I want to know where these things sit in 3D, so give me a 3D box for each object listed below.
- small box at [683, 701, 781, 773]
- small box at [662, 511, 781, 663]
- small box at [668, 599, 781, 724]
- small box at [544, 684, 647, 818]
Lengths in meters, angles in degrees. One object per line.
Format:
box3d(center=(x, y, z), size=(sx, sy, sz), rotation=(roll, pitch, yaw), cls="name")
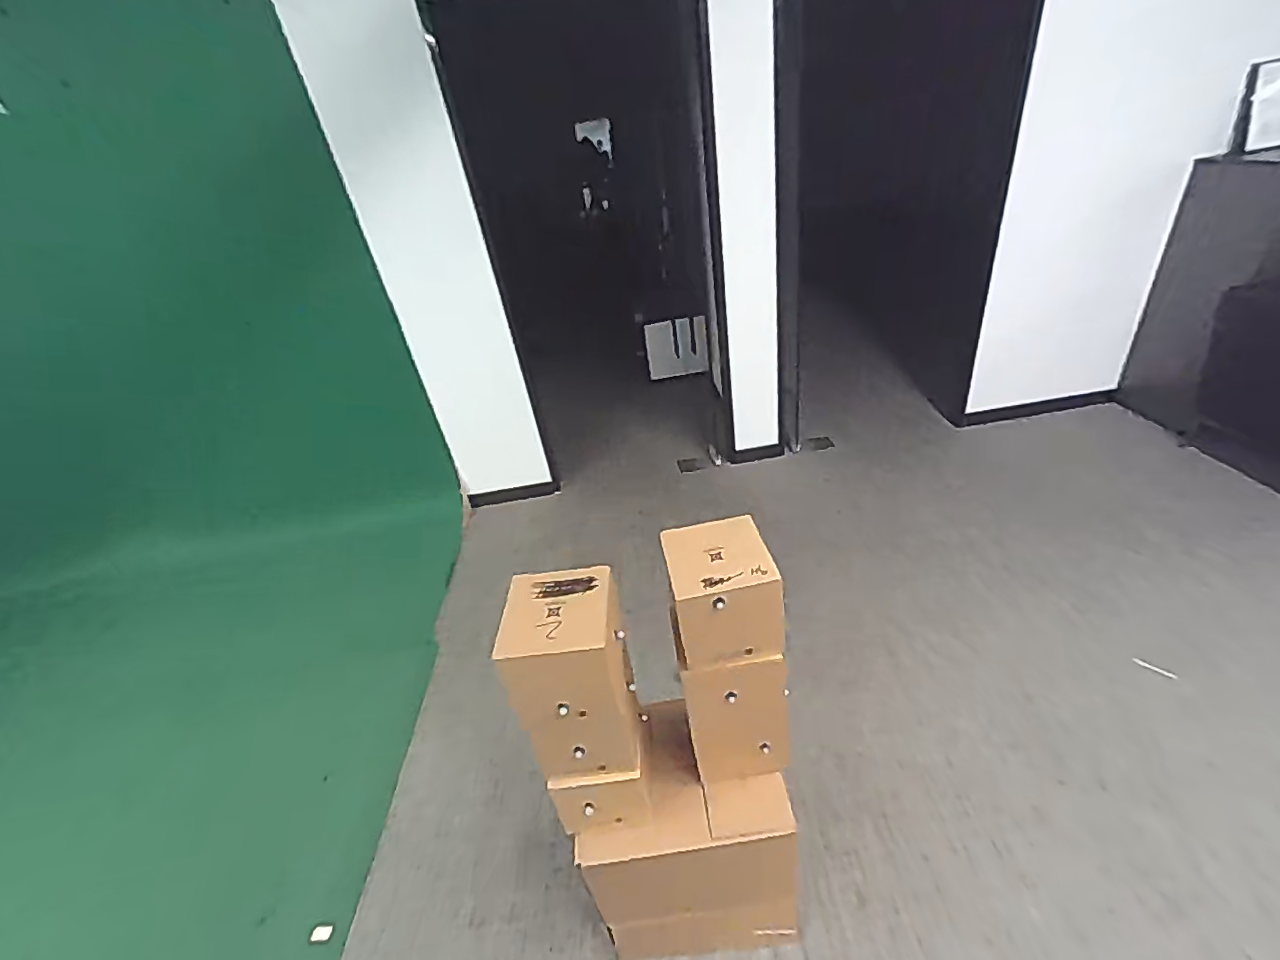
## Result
box3d(center=(0.178, 0.460, 1.093), size=(0.179, 0.176, 0.168), rotation=(-11, 33, 1), cls="small box")
box3d(center=(0.136, 0.180, 0.925), size=(0.168, 0.176, 0.179), rotation=(-11, 32, 0), cls="small box")
box3d(center=(0.155, 0.324, 1.003), size=(0.179, 0.176, 0.168), rotation=(-10, 32, 2), cls="small box")
box3d(center=(-0.079, 0.530, 1.051), size=(0.168, 0.176, 0.179), rotation=(-8, 33, 2), cls="small box")
